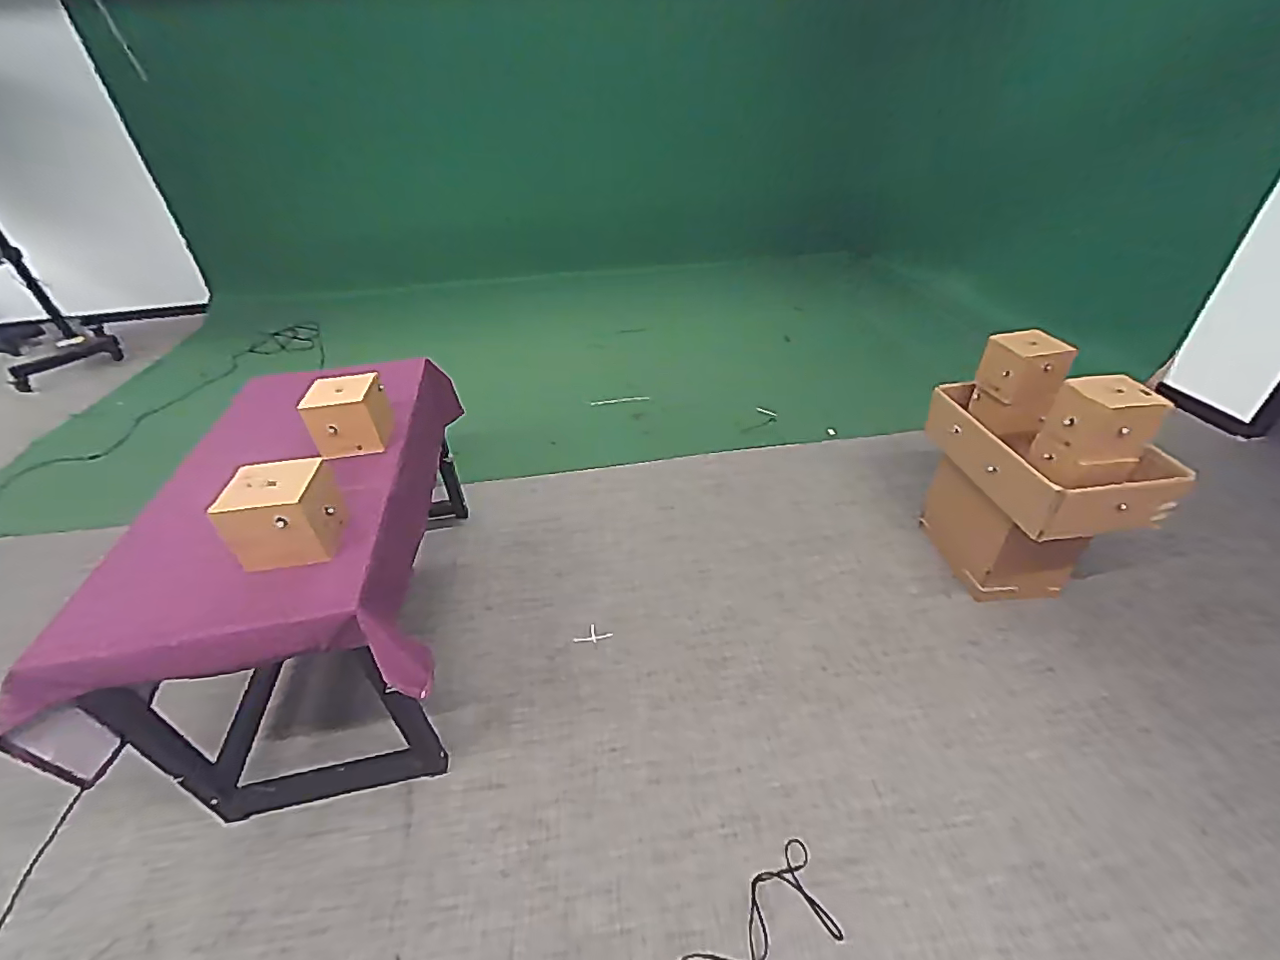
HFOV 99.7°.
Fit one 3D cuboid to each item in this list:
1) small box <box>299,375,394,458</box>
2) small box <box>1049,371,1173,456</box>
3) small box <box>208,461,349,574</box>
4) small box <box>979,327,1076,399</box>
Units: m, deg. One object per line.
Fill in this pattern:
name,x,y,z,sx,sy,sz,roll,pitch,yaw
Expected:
small box,-0.807,-0.172,1.510,0.168,0.176,0.179,-9,37,-6
small box,1.264,-0.179,1.474,0.179,0.176,0.168,-6,38,-1
small box,-0.763,0.081,1.168,0.179,0.176,0.168,-8,37,-5
small box,1.228,-0.373,1.733,0.179,0.176,0.168,-9,38,-7
